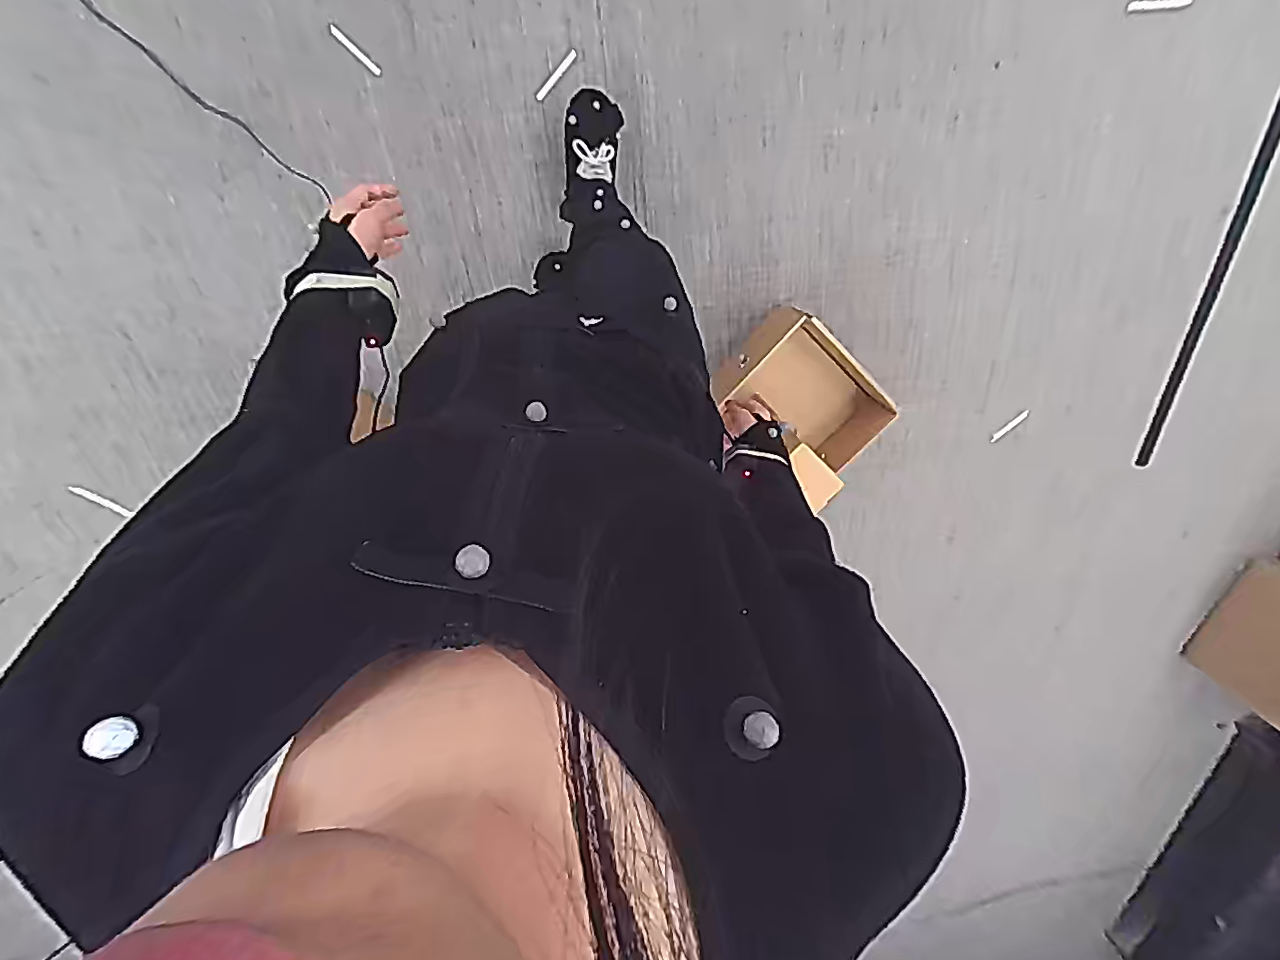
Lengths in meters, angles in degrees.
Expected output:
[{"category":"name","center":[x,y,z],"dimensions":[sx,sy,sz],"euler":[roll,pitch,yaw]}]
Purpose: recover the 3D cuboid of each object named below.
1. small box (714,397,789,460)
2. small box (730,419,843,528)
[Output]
[{"category":"small box","center":[0.330,-0.098,1.464],"dimensions":[0.179,0.176,0.168],"euler":[40,105,-24]},{"category":"small box","center":[0.351,-0.021,1.323],"dimensions":[0.179,0.176,0.168],"euler":[38,106,-23]}]
